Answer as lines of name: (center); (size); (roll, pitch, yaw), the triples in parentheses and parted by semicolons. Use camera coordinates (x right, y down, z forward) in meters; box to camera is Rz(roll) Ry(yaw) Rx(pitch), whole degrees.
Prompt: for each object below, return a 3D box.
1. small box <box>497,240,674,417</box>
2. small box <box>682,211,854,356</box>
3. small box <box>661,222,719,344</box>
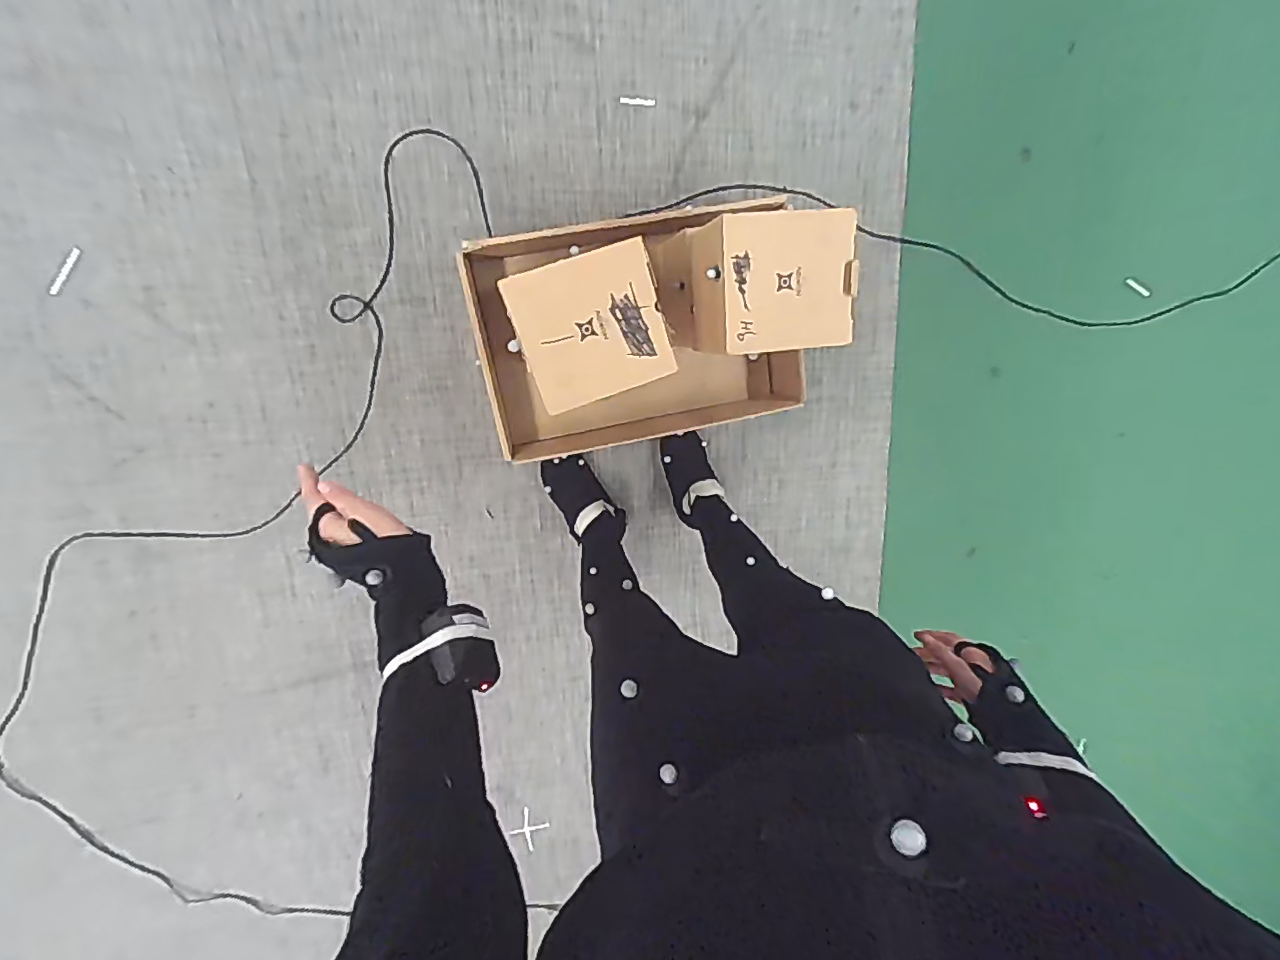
small box: (-0.077, -0.201, 0.717); (0.179, 0.176, 0.168); (-21, 109, -6)
small box: (0.167, -0.265, 0.745); (0.179, 0.176, 0.168); (-7, 106, -9)
small box: (0.136, -0.321, 0.897); (0.168, 0.176, 0.179); (-10, 107, -8)
